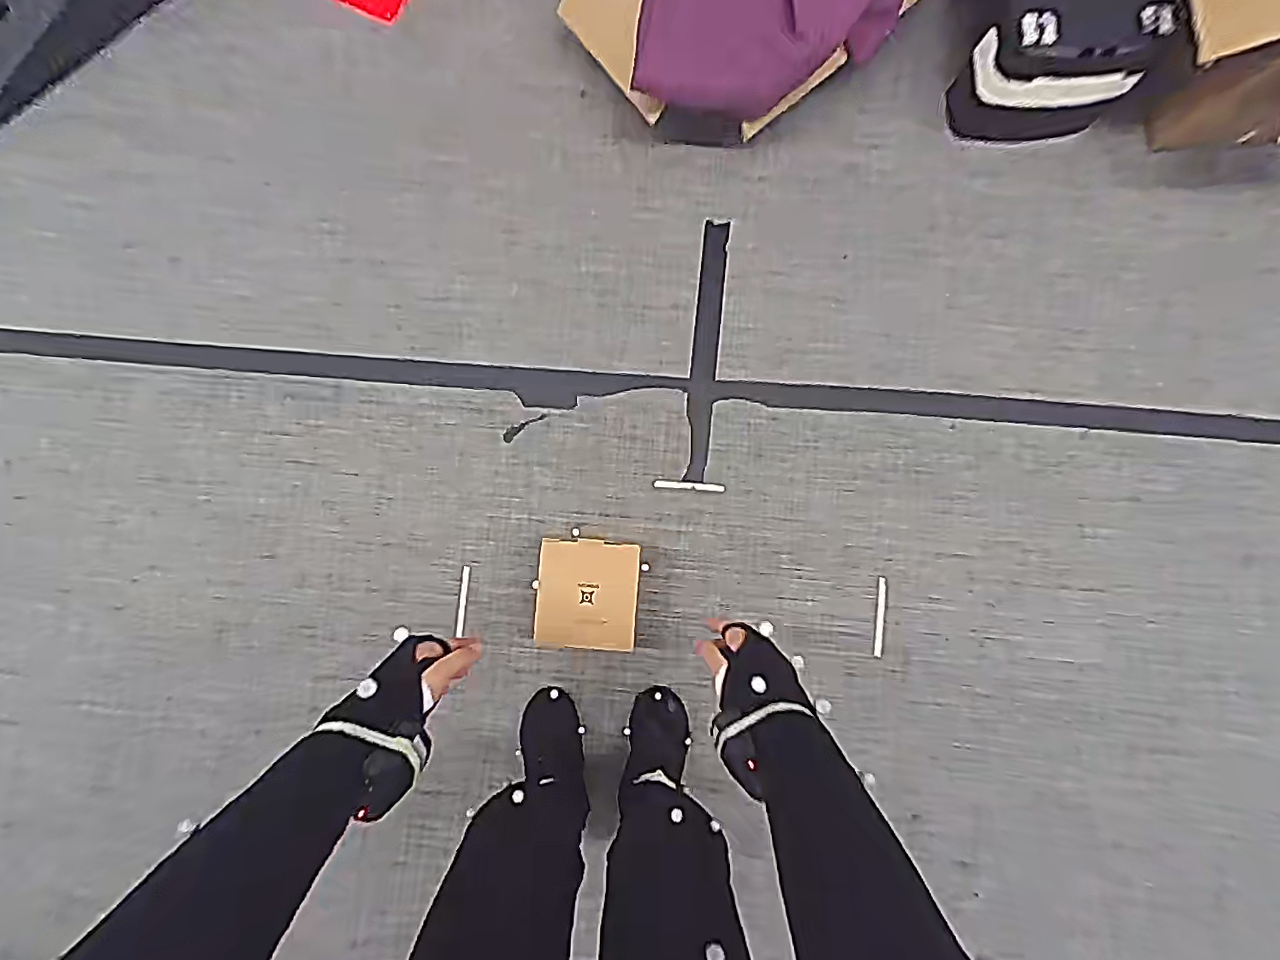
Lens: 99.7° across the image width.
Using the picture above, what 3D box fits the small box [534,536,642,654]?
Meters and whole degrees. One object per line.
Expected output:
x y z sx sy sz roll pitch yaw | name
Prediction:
-0.083 0.193 0.954 0.168 0.176 0.179 3 88 2 | small box
